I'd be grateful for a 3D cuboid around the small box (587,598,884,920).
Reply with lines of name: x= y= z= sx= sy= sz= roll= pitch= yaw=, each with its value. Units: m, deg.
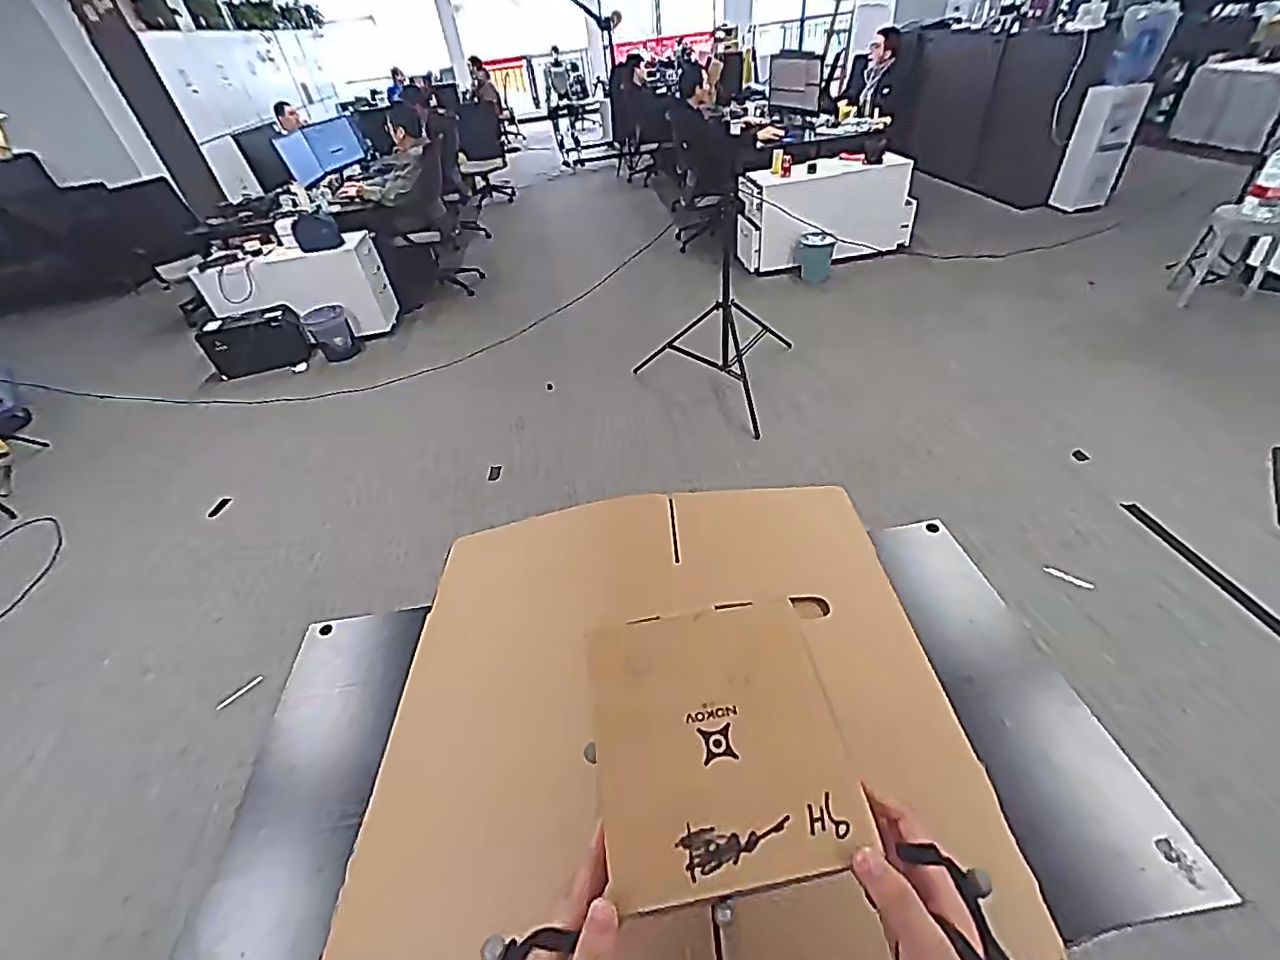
small box: x=0.053 y=0.220 z=0.426 sx=0.168 sy=0.176 sz=0.179 roll=-9 pitch=51 yaw=-4
